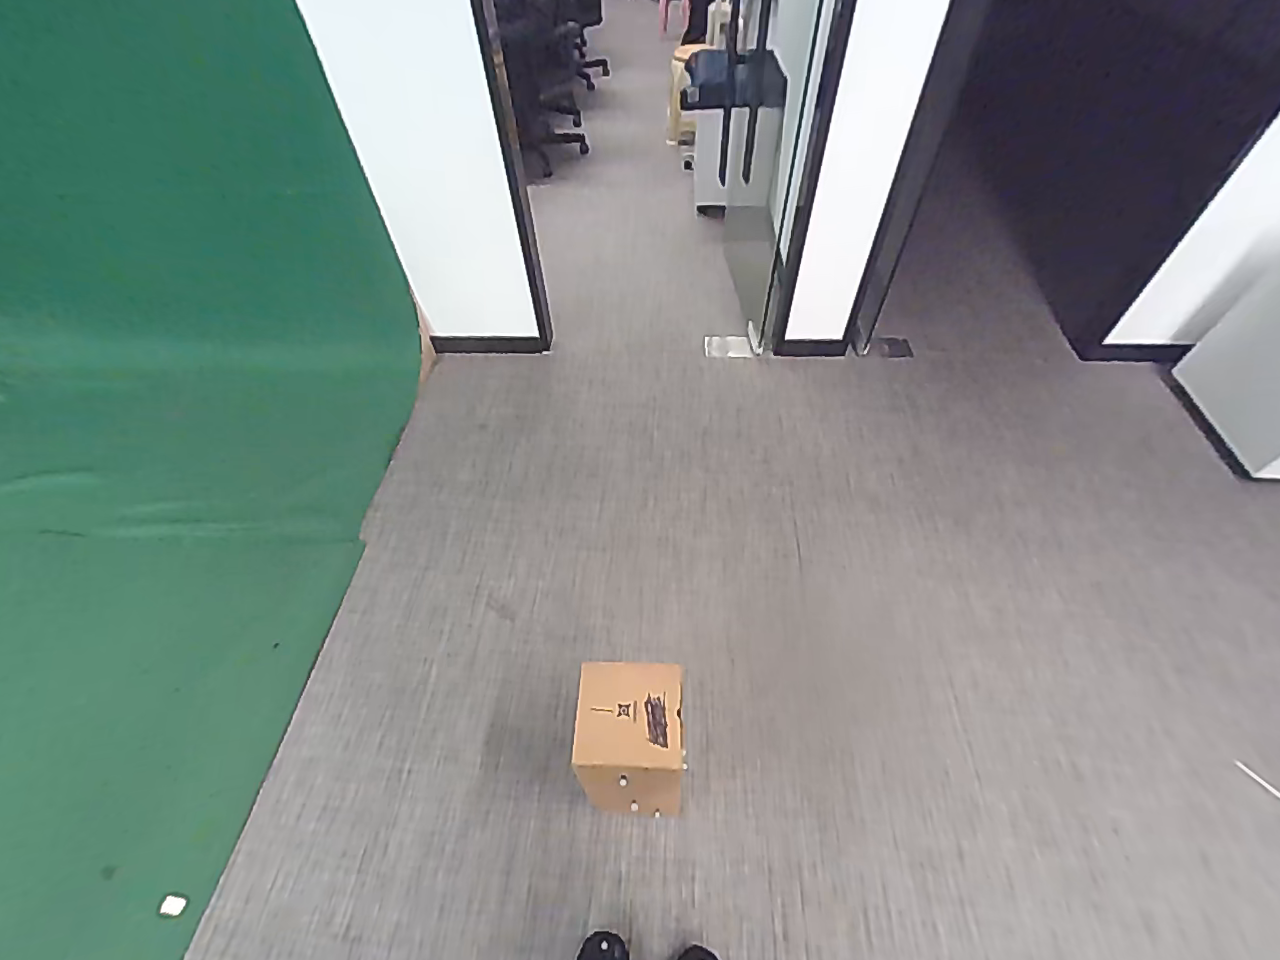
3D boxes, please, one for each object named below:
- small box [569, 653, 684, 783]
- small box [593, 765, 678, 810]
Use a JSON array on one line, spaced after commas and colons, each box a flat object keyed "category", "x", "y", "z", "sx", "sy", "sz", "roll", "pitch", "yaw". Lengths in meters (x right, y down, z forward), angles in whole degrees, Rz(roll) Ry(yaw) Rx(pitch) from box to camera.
[{"category": "small box", "x": -0.018, "y": 0.425, "z": 0.958, "sx": 0.179, "sy": 0.176, "sz": 0.168, "roll": 3, "pitch": 49, "yaw": 5}, {"category": "small box", "x": -0.003, "y": 0.633, "z": 1.215, "sx": 0.179, "sy": 0.176, "sz": 0.168, "roll": 0, "pitch": 50, "yaw": 4}]
